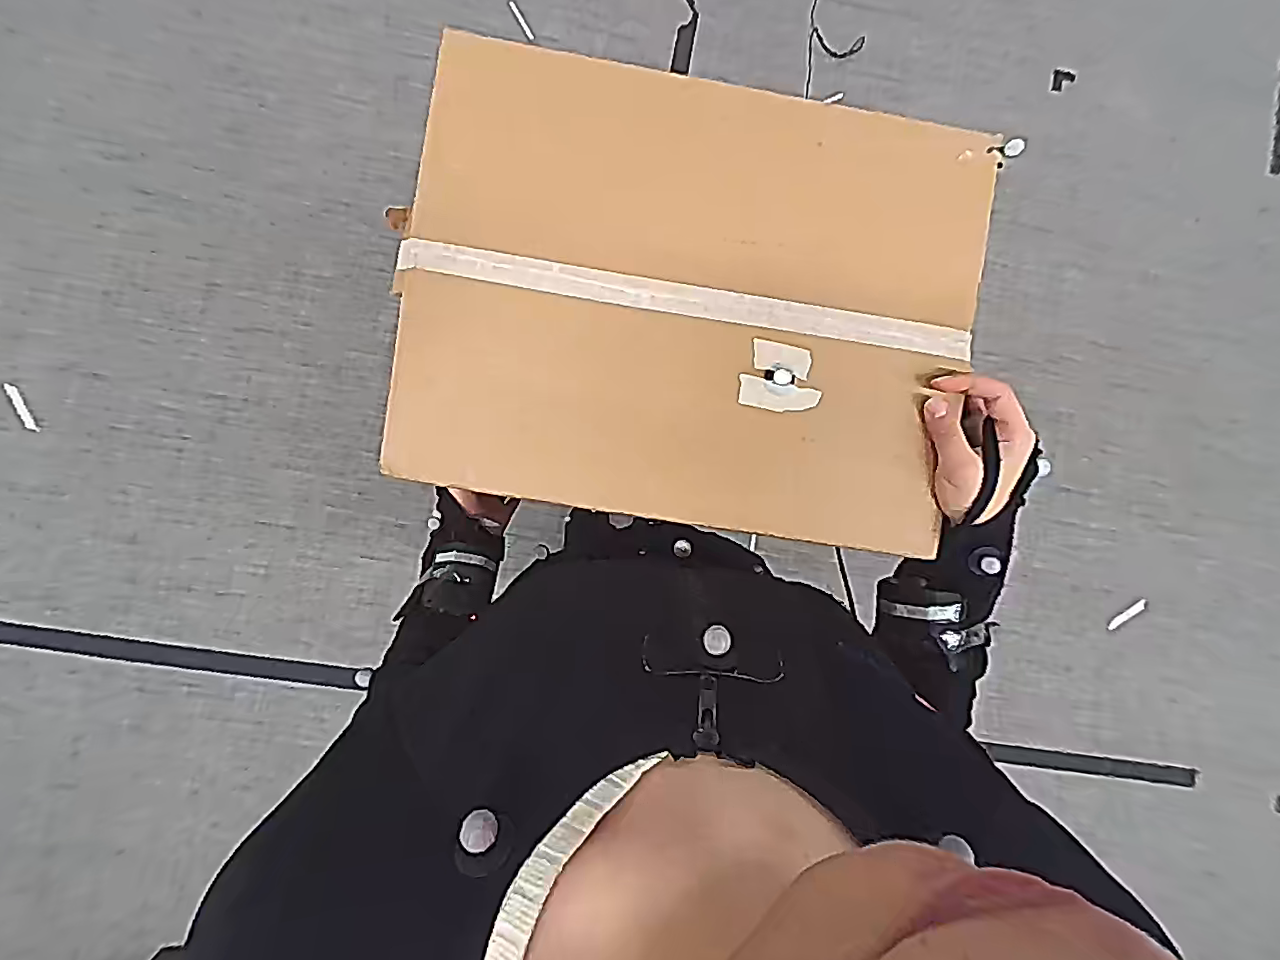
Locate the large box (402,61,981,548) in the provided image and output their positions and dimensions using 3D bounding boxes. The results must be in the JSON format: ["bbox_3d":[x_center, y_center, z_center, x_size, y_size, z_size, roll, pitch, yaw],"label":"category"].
[{"bbox_3d":[0.033,-0.125,0.544,0.408,0.320,0.320,8,91,-4],"label":"large box"}]
